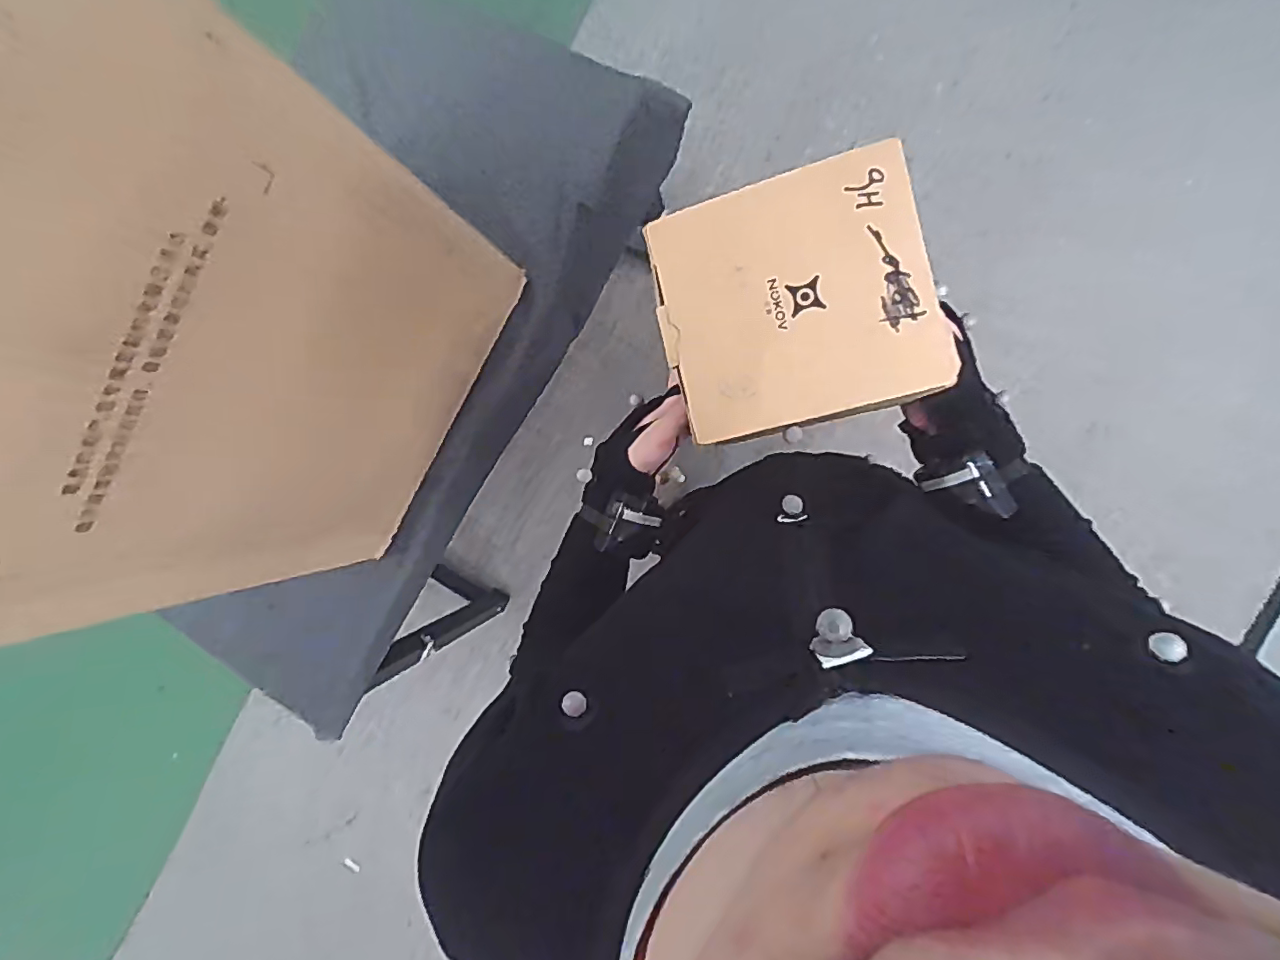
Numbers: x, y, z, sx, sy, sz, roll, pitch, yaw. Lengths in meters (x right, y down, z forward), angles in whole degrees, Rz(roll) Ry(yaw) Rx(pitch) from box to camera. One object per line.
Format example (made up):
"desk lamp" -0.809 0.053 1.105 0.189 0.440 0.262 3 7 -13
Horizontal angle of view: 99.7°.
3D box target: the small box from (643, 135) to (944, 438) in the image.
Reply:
"small box" 0.118 -0.132 0.447 0.179 0.176 0.168 -12 91 13
